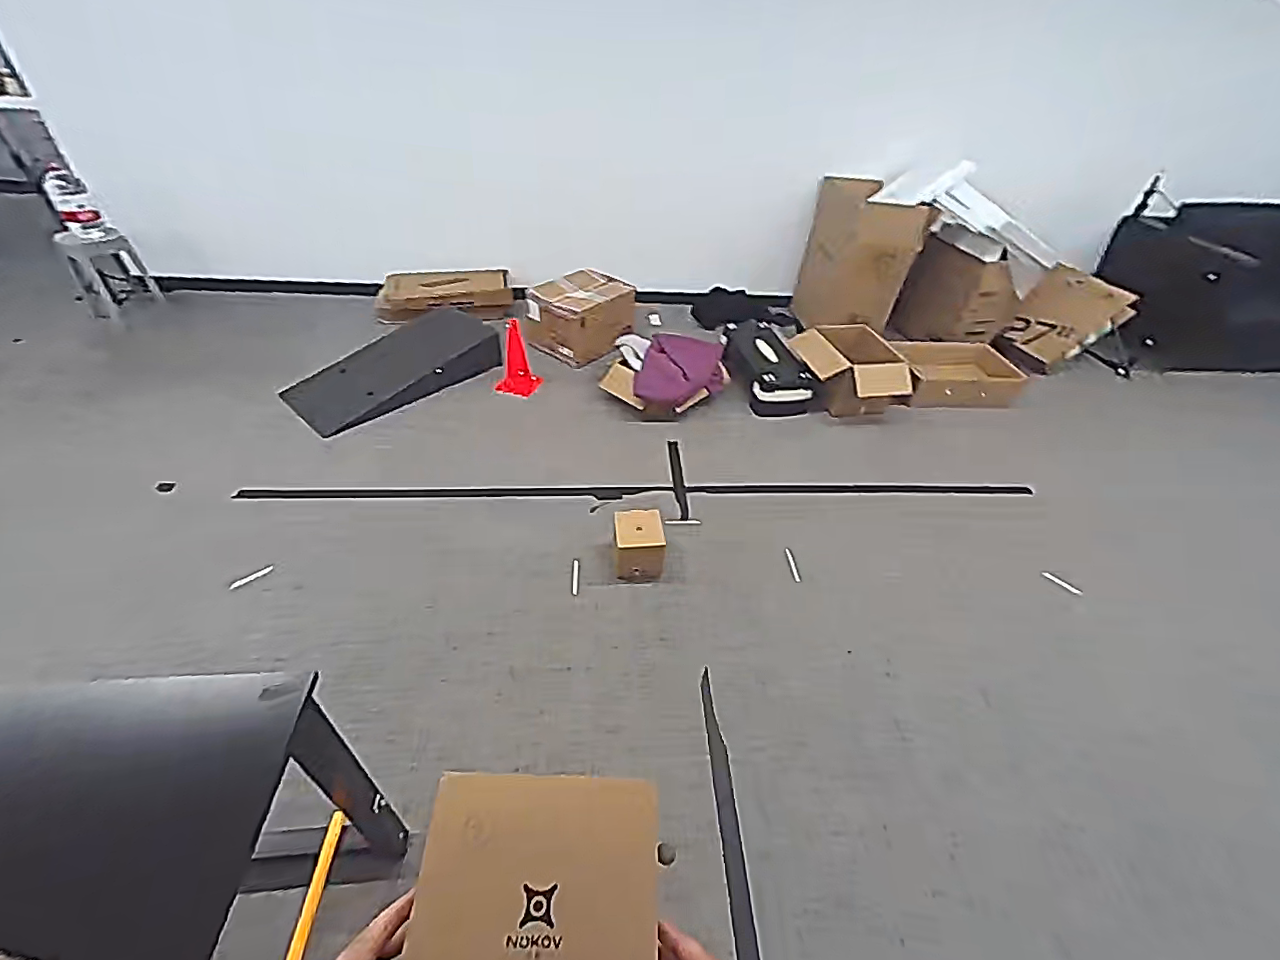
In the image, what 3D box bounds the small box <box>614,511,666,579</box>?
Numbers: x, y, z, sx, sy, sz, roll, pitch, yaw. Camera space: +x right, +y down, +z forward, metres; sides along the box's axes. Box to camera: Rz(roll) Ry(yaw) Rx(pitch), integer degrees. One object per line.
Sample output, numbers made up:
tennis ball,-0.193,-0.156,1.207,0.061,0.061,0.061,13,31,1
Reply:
small box,-0.005,0.233,1.931,0.168,0.176,0.179,-4,42,-7
